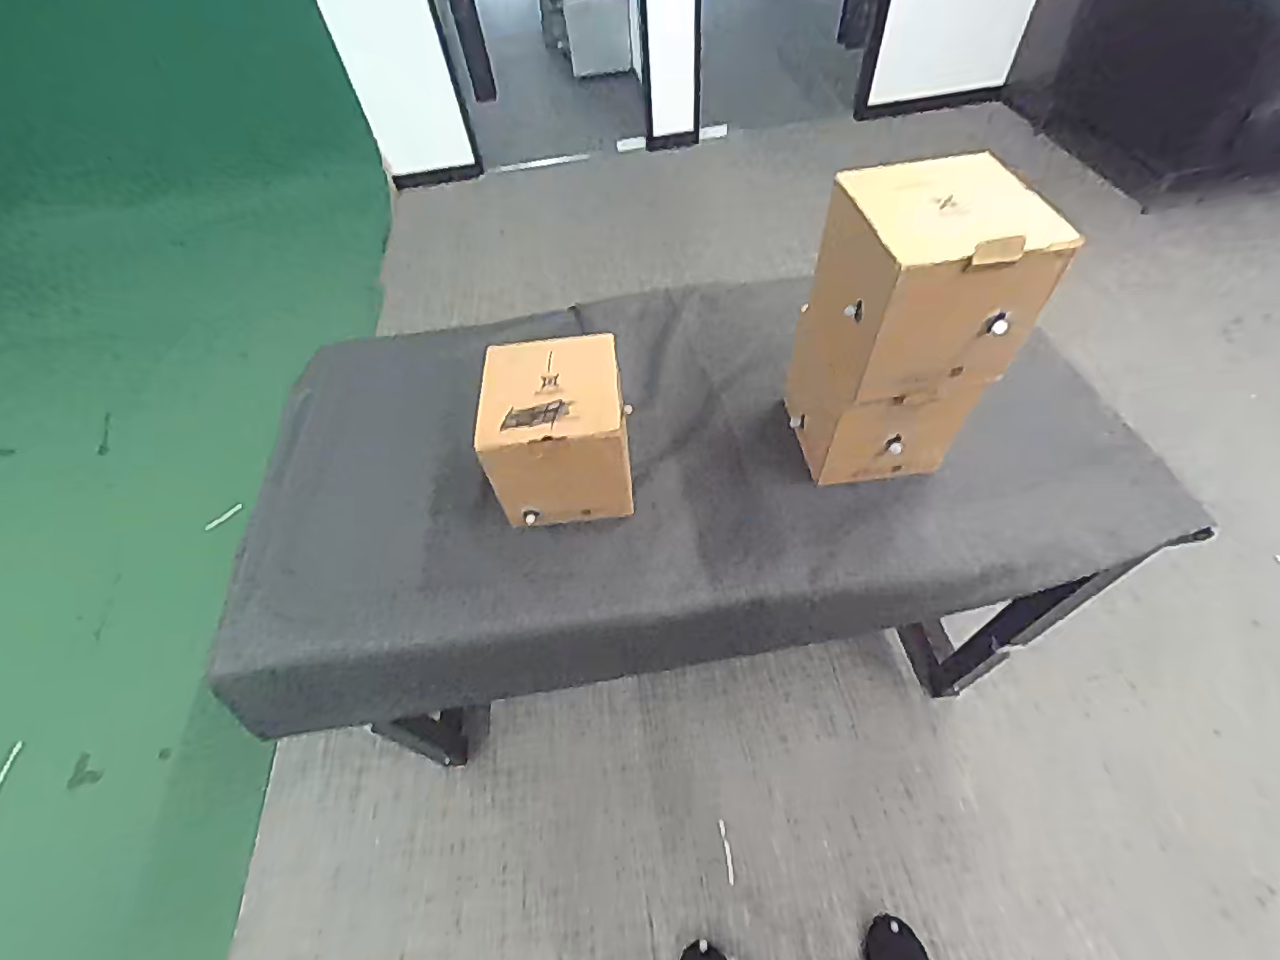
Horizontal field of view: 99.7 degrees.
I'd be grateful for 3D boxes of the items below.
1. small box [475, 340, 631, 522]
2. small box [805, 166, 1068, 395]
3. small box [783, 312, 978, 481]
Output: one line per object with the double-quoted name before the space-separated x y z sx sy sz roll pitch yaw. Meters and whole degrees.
"small box" -0.104 -0.057 0.714 0.168 0.176 0.179 -6 51 0
"small box" 0.294 -0.207 0.587 0.168 0.176 0.179 -8 52 -1
"small box" 0.299 -0.112 0.719 0.168 0.176 0.179 -7 53 0
